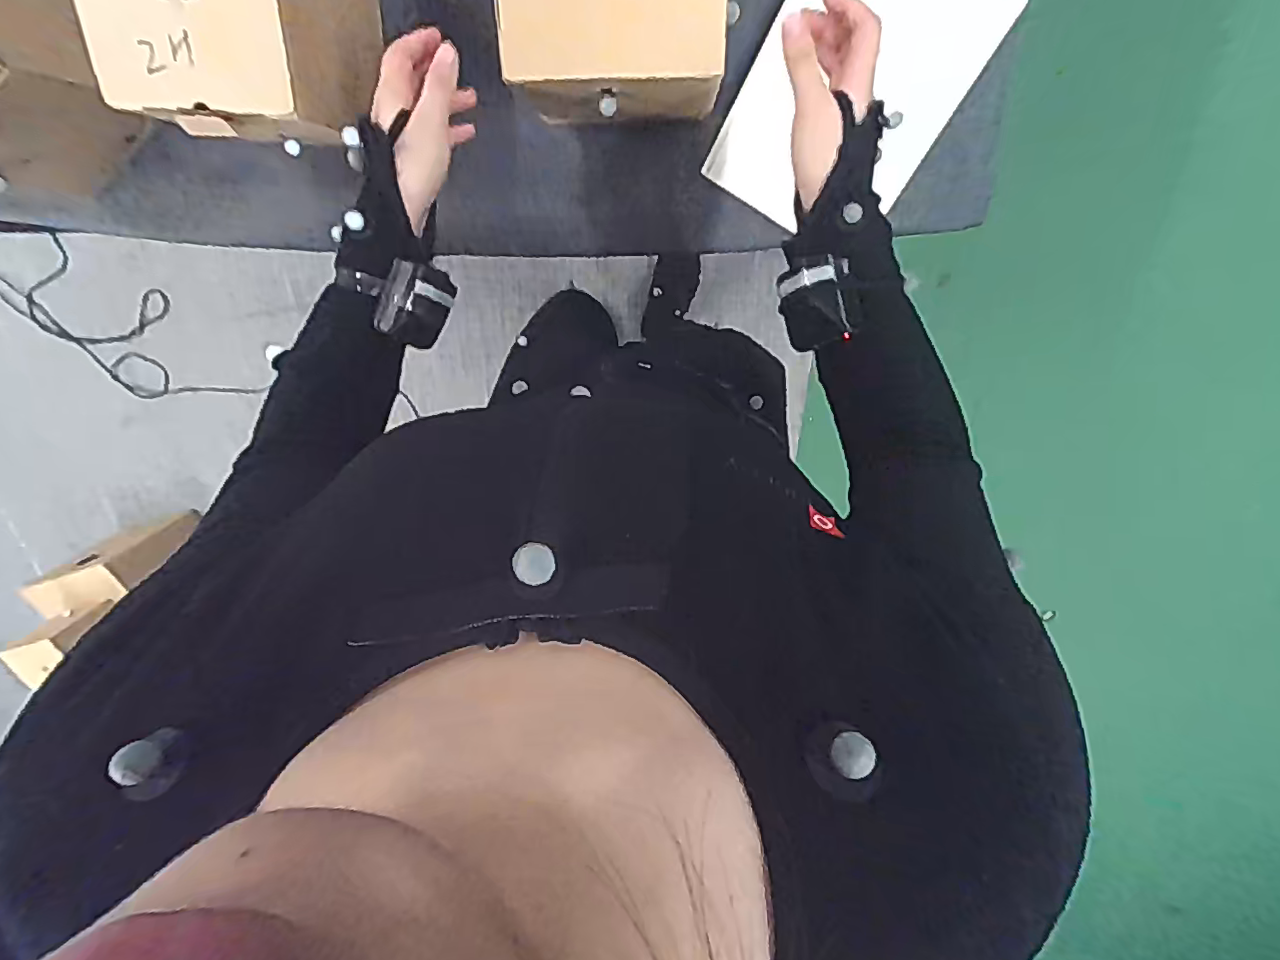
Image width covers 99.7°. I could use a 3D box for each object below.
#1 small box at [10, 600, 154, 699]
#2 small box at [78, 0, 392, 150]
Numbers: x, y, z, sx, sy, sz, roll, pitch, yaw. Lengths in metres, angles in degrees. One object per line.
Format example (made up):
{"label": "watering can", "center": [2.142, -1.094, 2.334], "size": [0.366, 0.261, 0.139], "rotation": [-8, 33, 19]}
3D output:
{"label": "small box", "center": [-1.489, 0.454, 1.459], "size": [0.168, 0.176, 0.179], "rotation": [-16, 113, 10]}
{"label": "small box", "center": [-0.350, -0.415, 0.487], "size": [0.168, 0.176, 0.179], "rotation": [5, 115, 3]}
